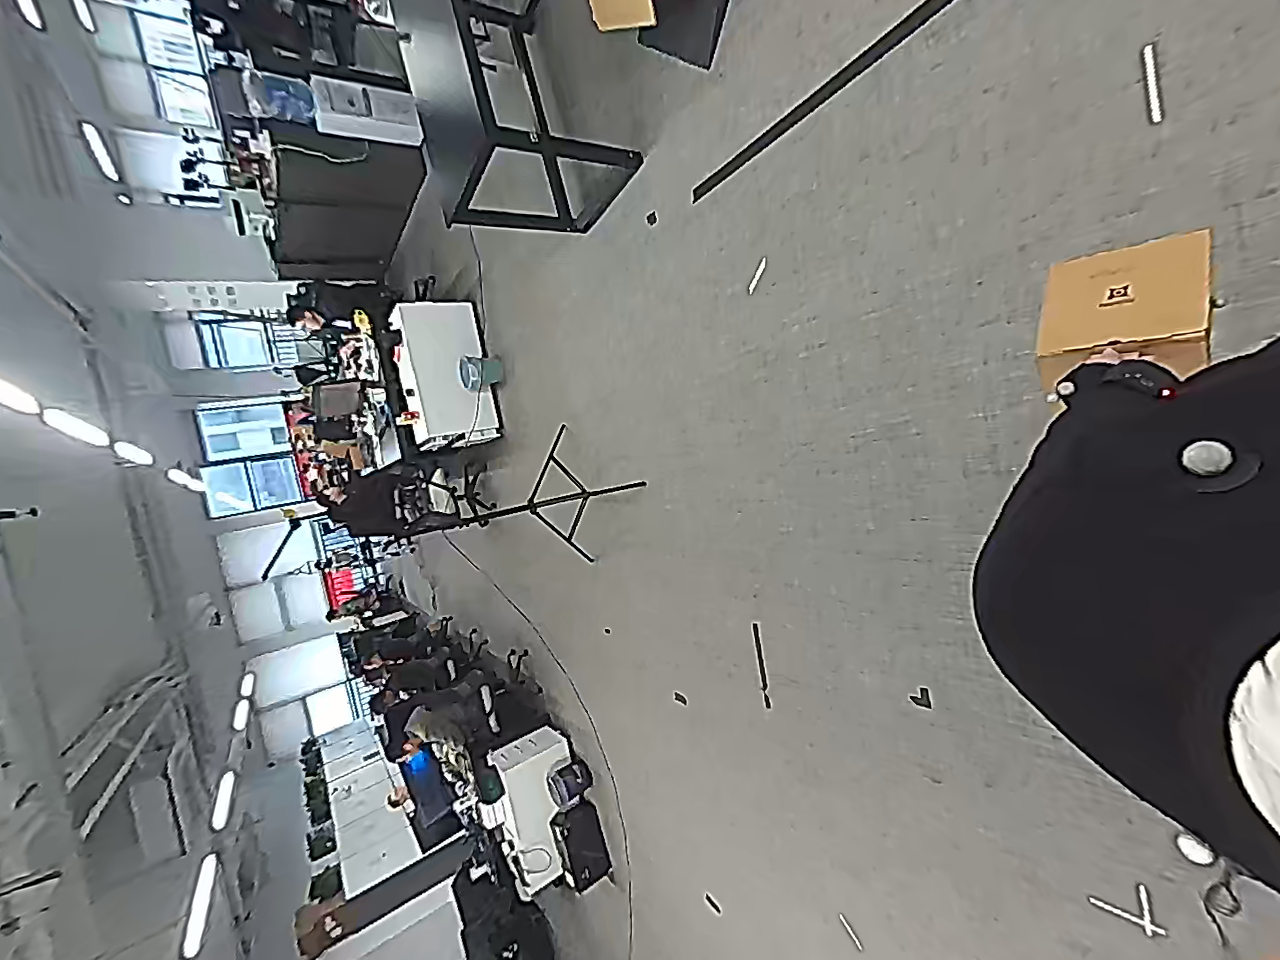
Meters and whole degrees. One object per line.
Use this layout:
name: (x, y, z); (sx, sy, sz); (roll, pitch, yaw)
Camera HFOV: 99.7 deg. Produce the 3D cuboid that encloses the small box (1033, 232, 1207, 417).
small box: (0.678, -0.201, 0.761); (0.168, 0.176, 0.179); (1, 58, 46)
